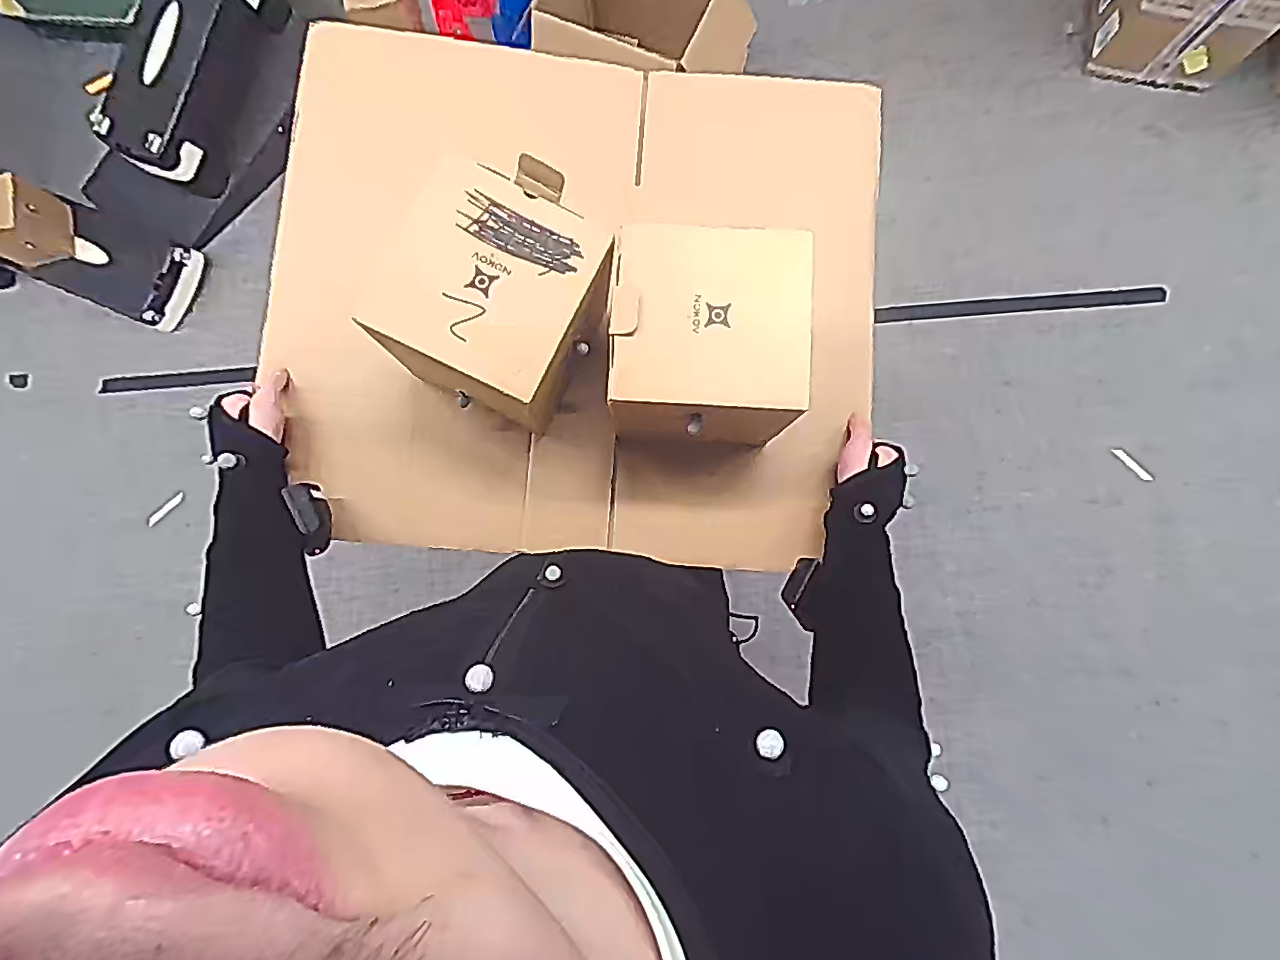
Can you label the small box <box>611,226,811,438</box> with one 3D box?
[{"bbox_3d":[0.067,-0.141,0.570,0.179,0.176,0.168,3,84,2],"label":"small box"}]
